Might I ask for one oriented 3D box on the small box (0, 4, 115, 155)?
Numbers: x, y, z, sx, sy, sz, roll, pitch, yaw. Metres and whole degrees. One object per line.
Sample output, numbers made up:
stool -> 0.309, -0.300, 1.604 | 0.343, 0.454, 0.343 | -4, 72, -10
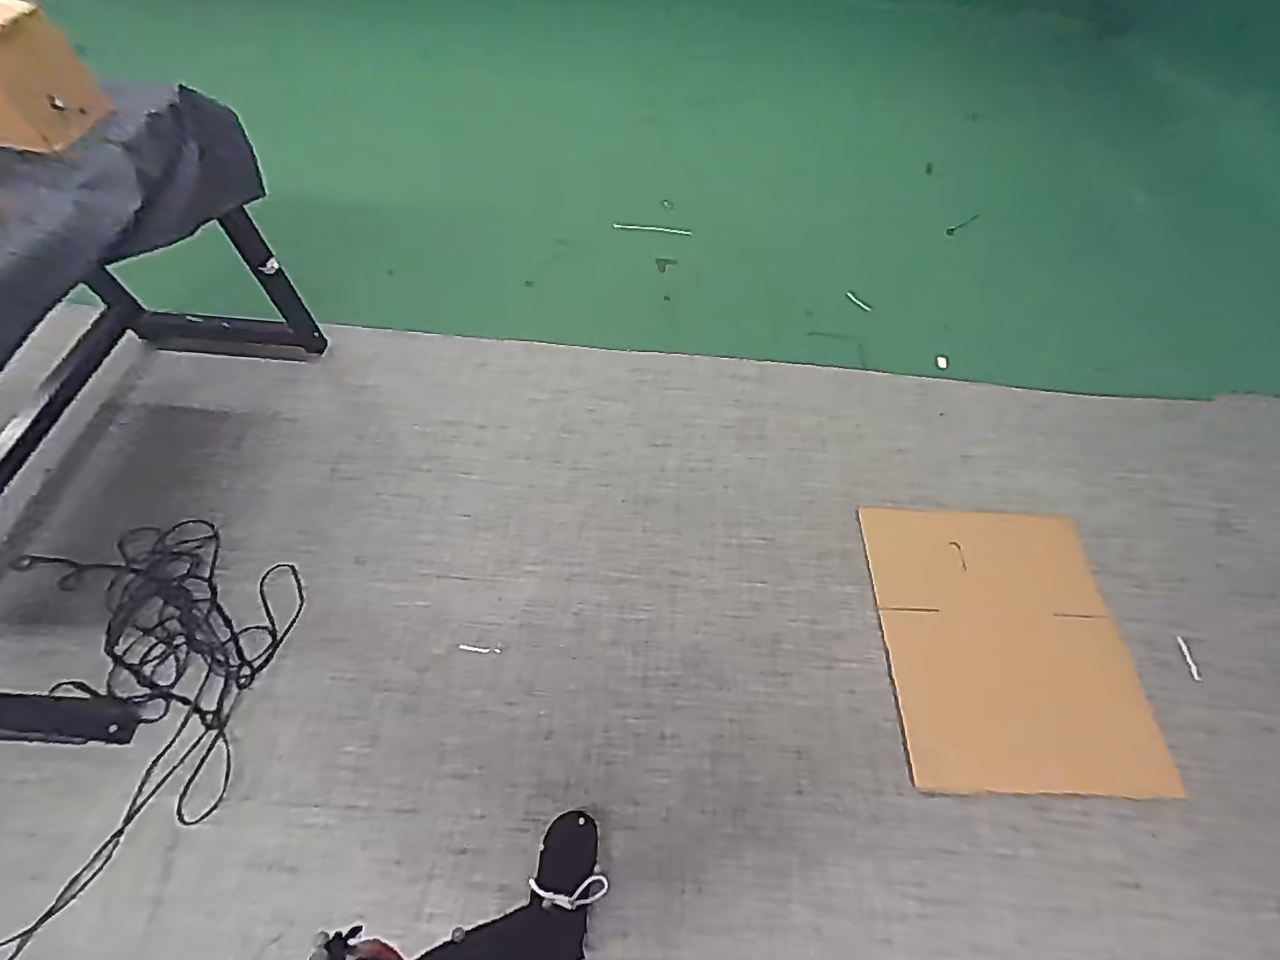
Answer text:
small box -> -1.119, -0.707, 0.958 | 0.179, 0.176, 0.168 | 8, 59, 2
